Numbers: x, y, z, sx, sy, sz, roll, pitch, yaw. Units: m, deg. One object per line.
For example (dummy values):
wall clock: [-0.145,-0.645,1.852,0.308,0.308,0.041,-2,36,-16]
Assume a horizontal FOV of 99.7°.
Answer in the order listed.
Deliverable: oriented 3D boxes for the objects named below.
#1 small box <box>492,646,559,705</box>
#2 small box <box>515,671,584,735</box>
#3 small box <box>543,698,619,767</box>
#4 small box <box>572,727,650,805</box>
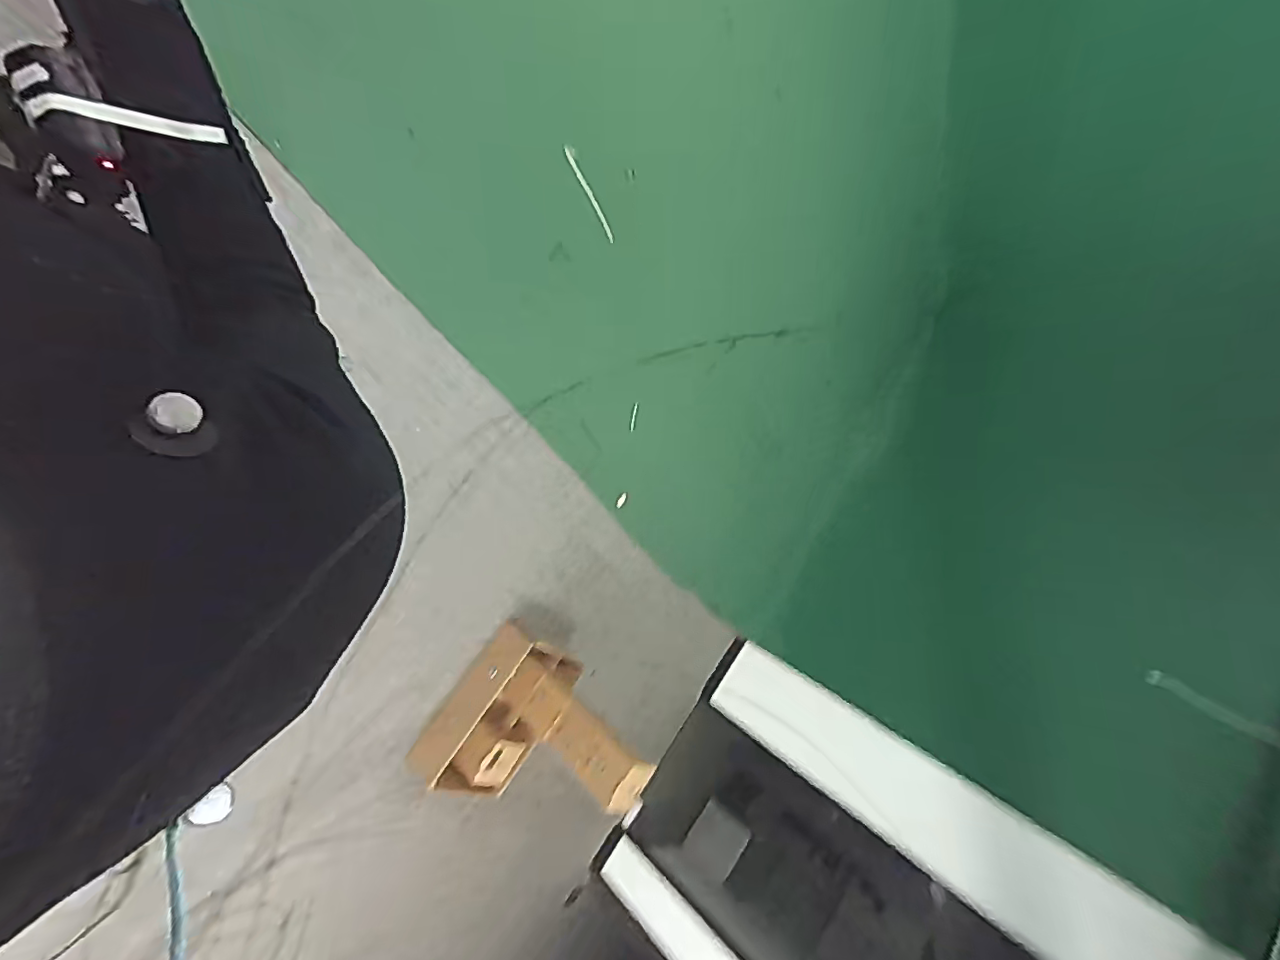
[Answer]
small box: [-0.448,0.785,2.140,0.168,0.176,0.179,-53,142,-12]
small box: [-0.334,0.848,2.042,0.168,0.176,0.179,-53,141,-11]
small box: [-0.216,0.911,1.948,0.168,0.176,0.179,-53,142,-9]
small box: [-0.102,0.976,1.850,0.168,0.176,0.179,-53,141,-8]
